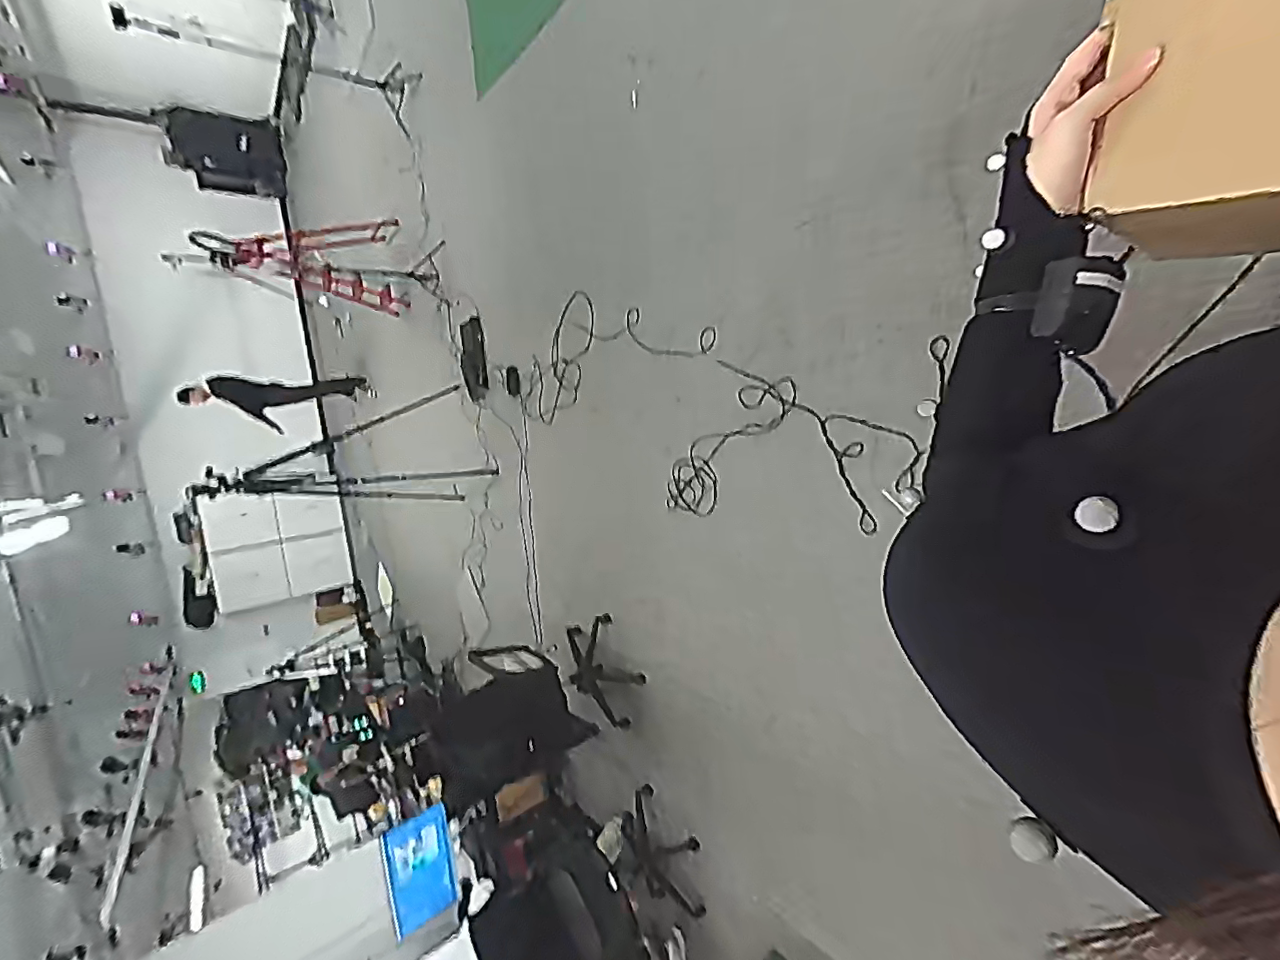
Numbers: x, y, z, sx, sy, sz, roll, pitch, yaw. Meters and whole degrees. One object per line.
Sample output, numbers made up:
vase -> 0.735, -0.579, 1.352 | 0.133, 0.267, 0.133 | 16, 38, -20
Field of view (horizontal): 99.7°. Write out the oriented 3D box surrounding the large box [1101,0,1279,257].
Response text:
large box -> 0.587, -0.341, 0.326 | 0.408, 0.320, 0.320 | 16, 110, 47
